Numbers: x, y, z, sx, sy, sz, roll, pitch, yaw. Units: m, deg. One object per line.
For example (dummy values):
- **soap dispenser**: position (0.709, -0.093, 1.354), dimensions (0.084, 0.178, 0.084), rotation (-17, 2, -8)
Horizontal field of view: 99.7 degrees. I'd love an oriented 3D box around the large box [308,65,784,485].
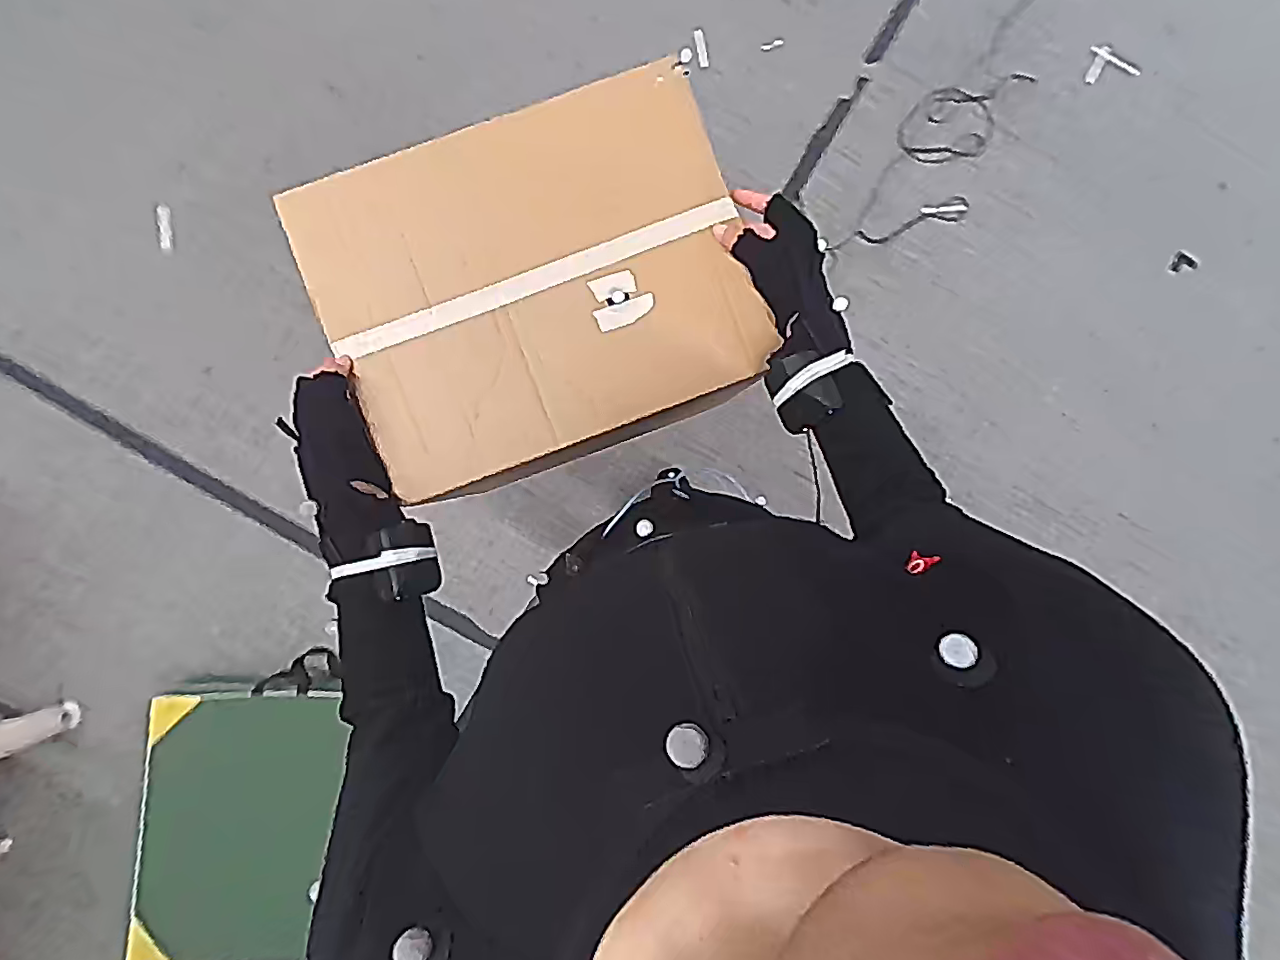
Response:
- **large box**: position (-0.096, -0.205, 0.682), dimensions (0.408, 0.320, 0.320), rotation (-19, 93, -2)
